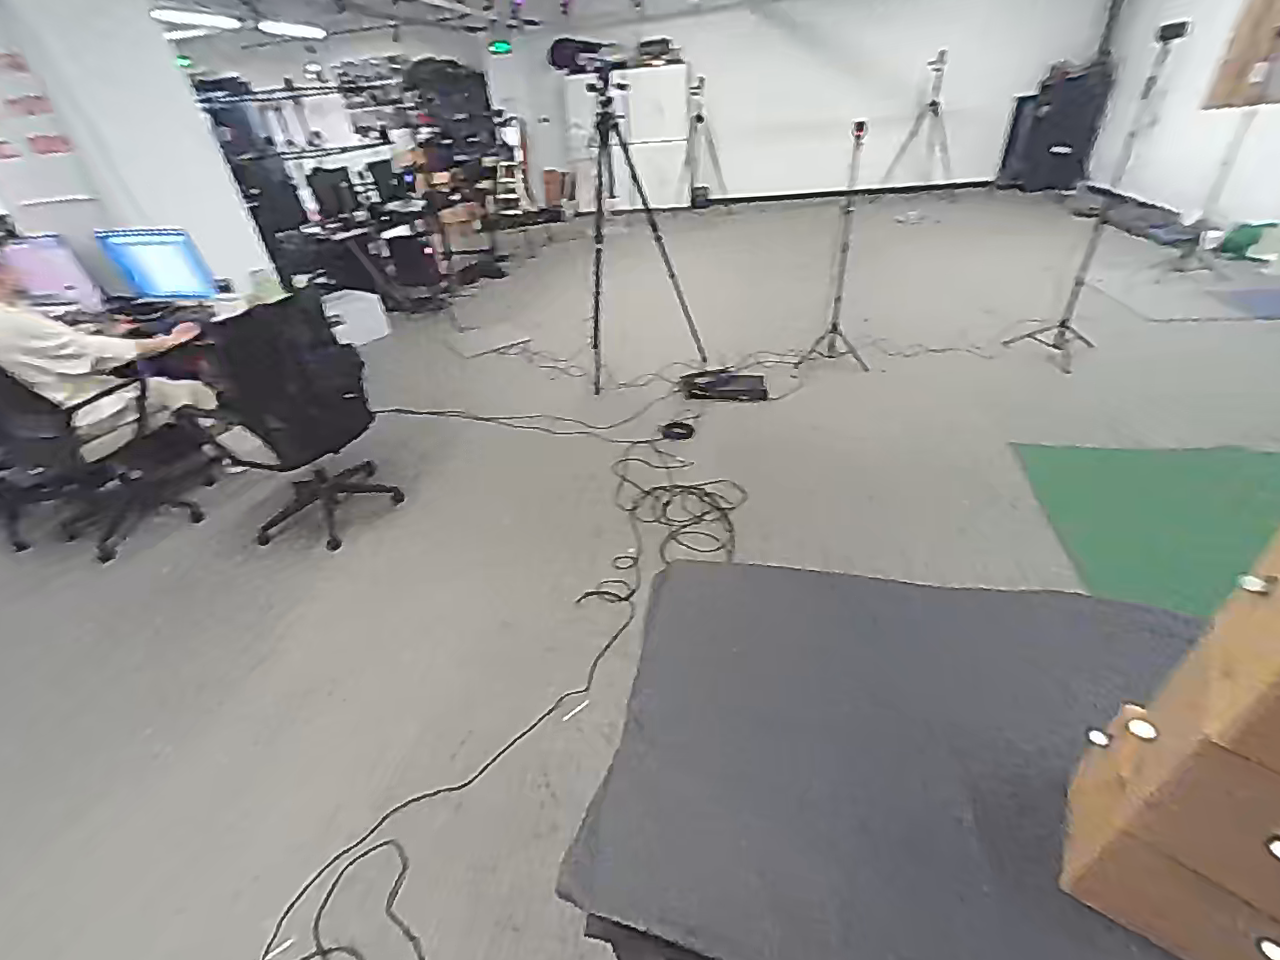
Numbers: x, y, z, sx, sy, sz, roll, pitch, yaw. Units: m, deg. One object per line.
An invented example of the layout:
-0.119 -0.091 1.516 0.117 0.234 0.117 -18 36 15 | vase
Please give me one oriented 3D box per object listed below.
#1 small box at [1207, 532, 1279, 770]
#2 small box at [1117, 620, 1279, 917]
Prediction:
0.568 0.135 0.392 0.179 0.176 0.168 24 44 35 | small box
0.583 0.268 0.484 0.179 0.176 0.168 26 45 37 | small box
